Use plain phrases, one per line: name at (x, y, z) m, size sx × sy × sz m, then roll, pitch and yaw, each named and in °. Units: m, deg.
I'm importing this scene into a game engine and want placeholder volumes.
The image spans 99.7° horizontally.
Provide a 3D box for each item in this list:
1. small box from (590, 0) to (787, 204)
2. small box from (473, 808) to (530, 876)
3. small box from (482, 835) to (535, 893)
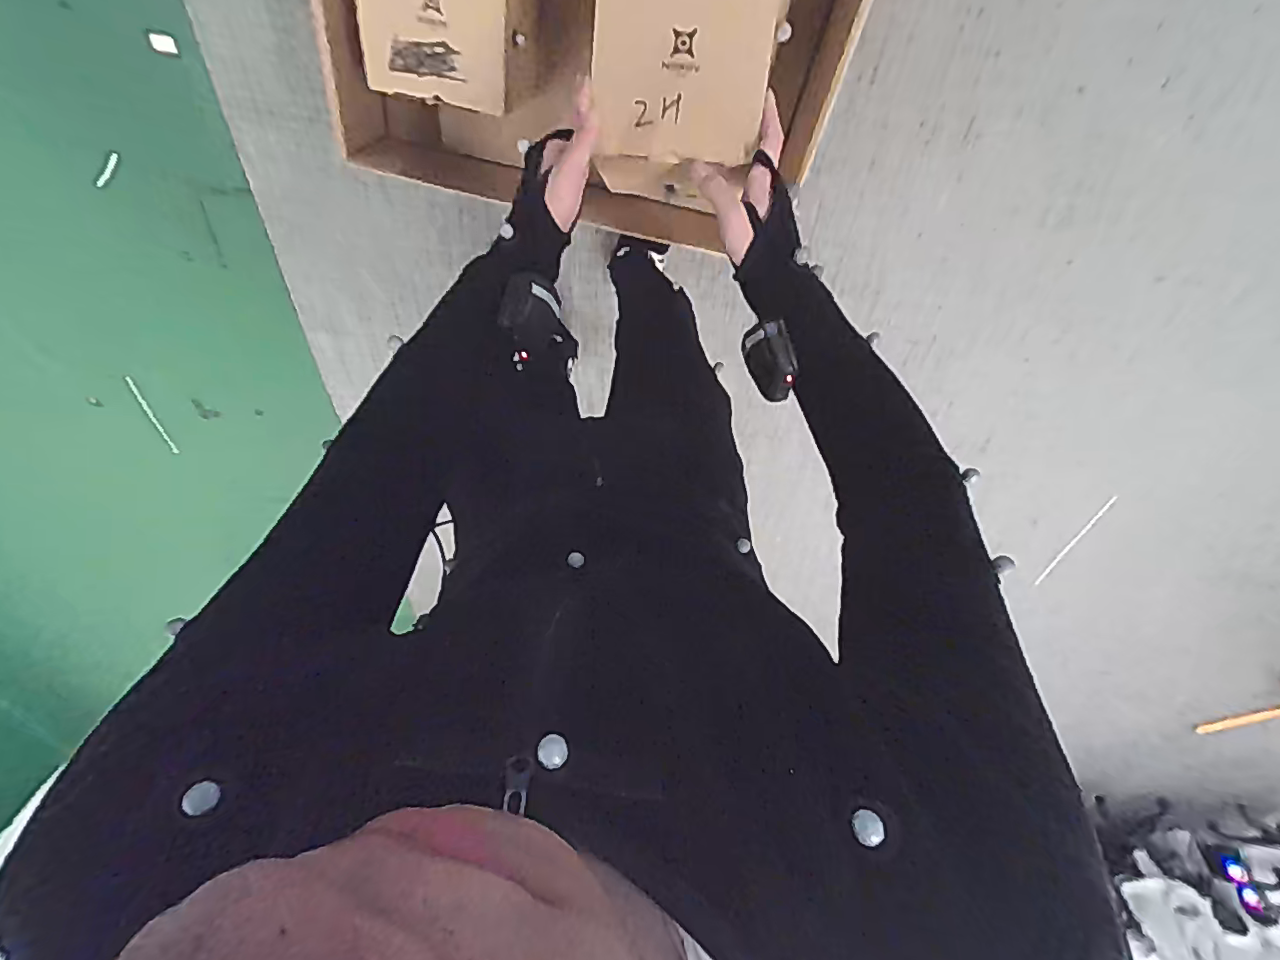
small box at (0.047, -0.406, 0.561) m, size 0.168 × 0.176 × 0.179 m, roll 7°, pitch 108°, yaw 2°
small box at (-0.506, 1.341, 2.003) m, size 0.168 × 0.176 × 0.179 m, roll 6°, pitch 134°, yaw -2°
small box at (-0.531, 1.557, 2.207) m, size 0.168 × 0.176 × 0.179 m, roll 5°, pitch 132°, yaw 1°
